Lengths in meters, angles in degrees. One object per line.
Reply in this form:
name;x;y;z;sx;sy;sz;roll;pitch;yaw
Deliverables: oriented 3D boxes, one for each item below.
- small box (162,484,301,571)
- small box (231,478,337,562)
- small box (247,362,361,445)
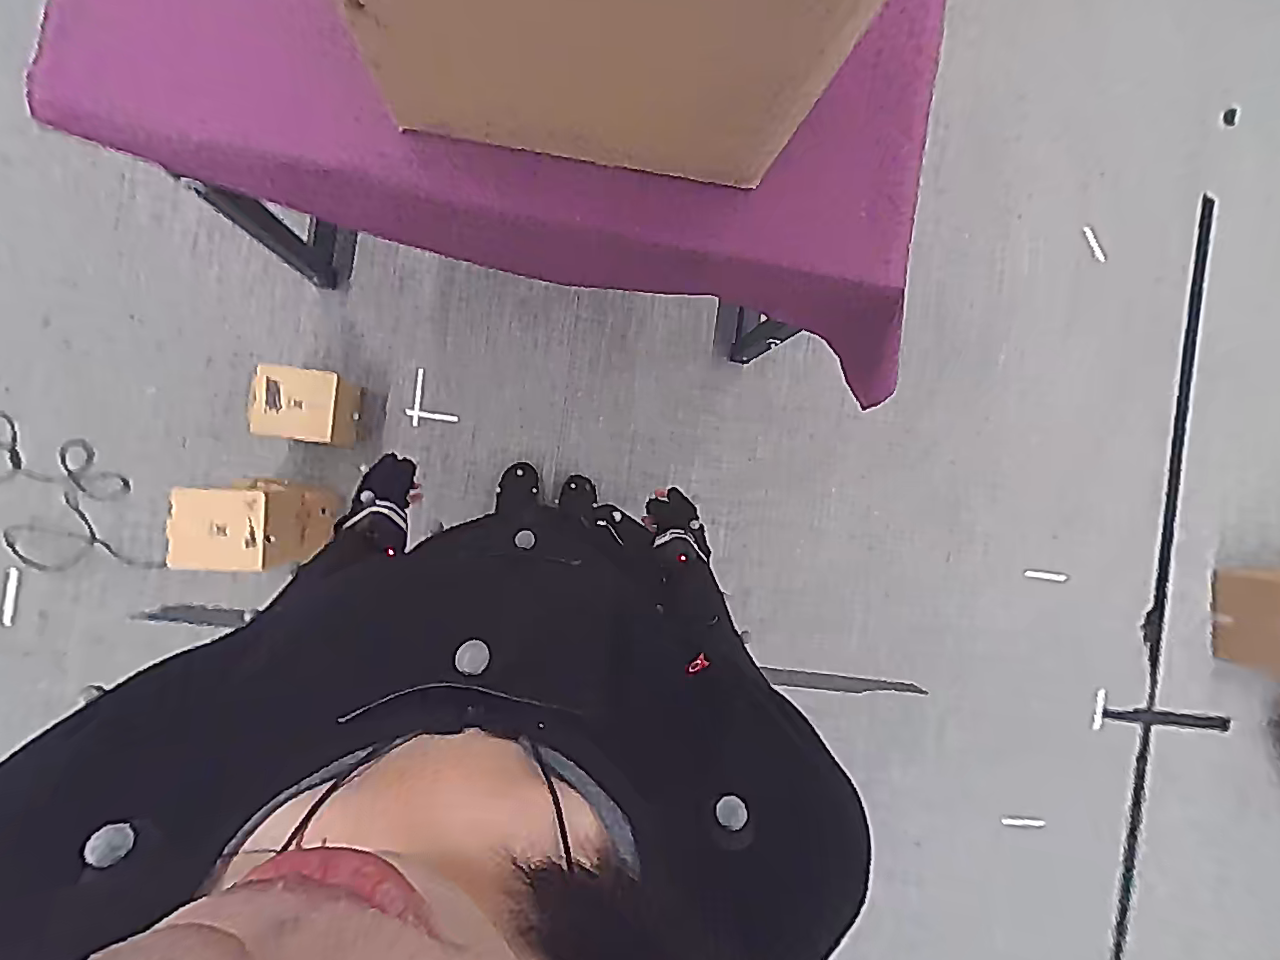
small box;-0.863;0.097;1.158;0.179;0.176;0.168;3;89;-9
small box;-0.876;0.093;1.322;0.179;0.176;0.168;14;87;-7
small box;-0.815;-0.180;1.326;0.179;0.176;0.168;7;90;-10
